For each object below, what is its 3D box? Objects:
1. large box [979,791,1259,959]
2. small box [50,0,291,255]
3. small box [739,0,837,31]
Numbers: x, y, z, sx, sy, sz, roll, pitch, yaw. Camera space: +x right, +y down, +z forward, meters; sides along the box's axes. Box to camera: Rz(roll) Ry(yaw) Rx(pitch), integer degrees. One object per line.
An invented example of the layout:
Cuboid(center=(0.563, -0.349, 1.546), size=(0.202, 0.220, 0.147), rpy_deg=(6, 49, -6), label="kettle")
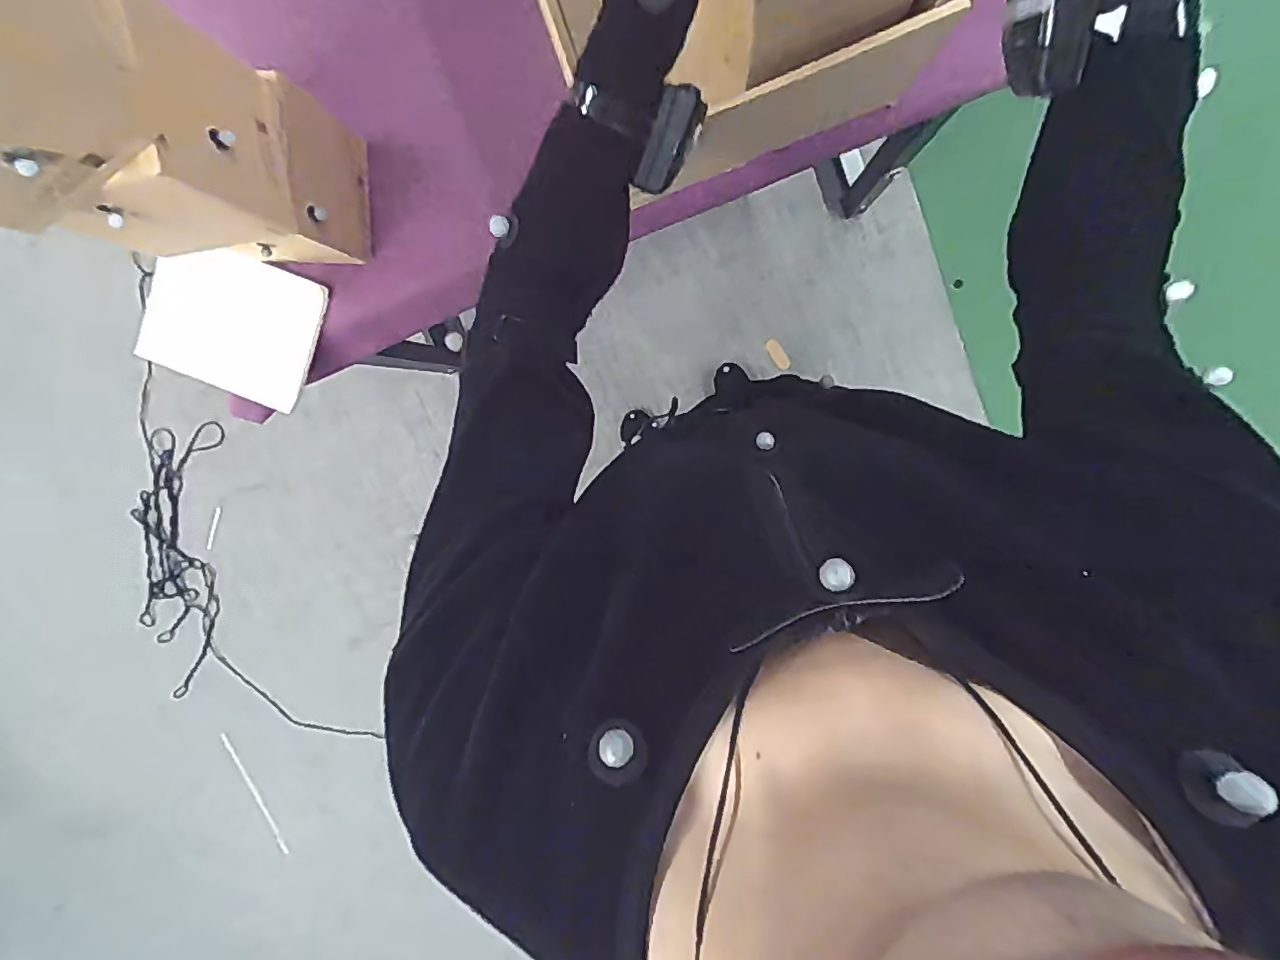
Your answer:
Cuboid(center=(1.209, 1.117, 1.401), size=(0.408, 0.320, 0.320), rpy_deg=(-35, 94, 8), label="large box")
Cuboid(center=(-0.483, -0.338, 0.536), size=(0.179, 0.176, 0.168), rpy_deg=(-6, 97, 7), label="small box")
Cuboid(center=(0.151, -0.499, 0.401), size=(0.179, 0.176, 0.168), rpy_deg=(-17, 96, 11), label="small box")
